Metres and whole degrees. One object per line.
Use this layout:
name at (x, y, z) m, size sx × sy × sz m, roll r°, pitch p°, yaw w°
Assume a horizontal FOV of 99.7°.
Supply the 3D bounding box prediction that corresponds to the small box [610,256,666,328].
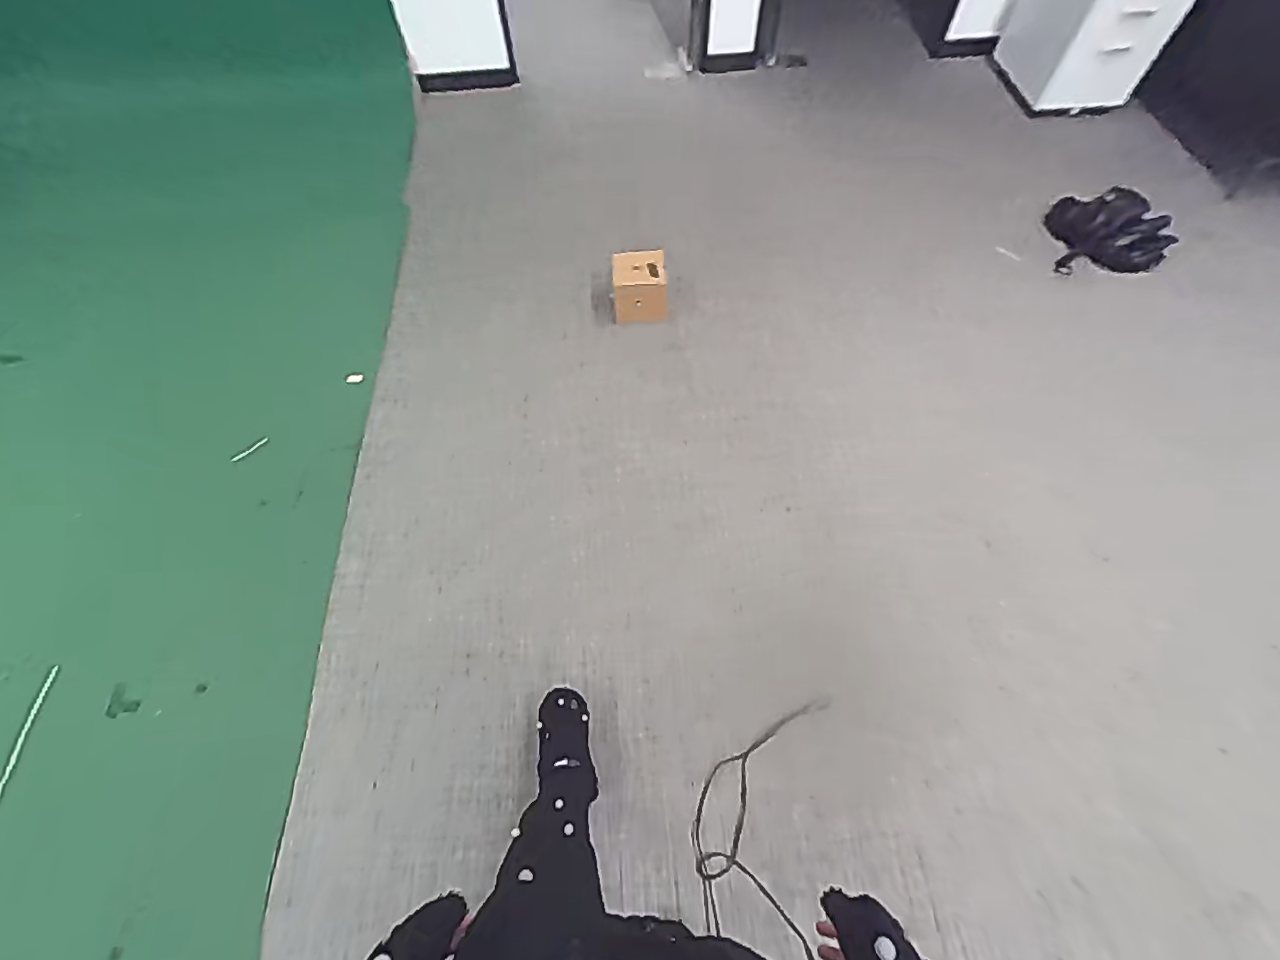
small box at (-0.011, -0.647, 1.869) m, size 0.179 × 0.176 × 0.168 m, roll -5°, pitch 61°, yaw -3°
